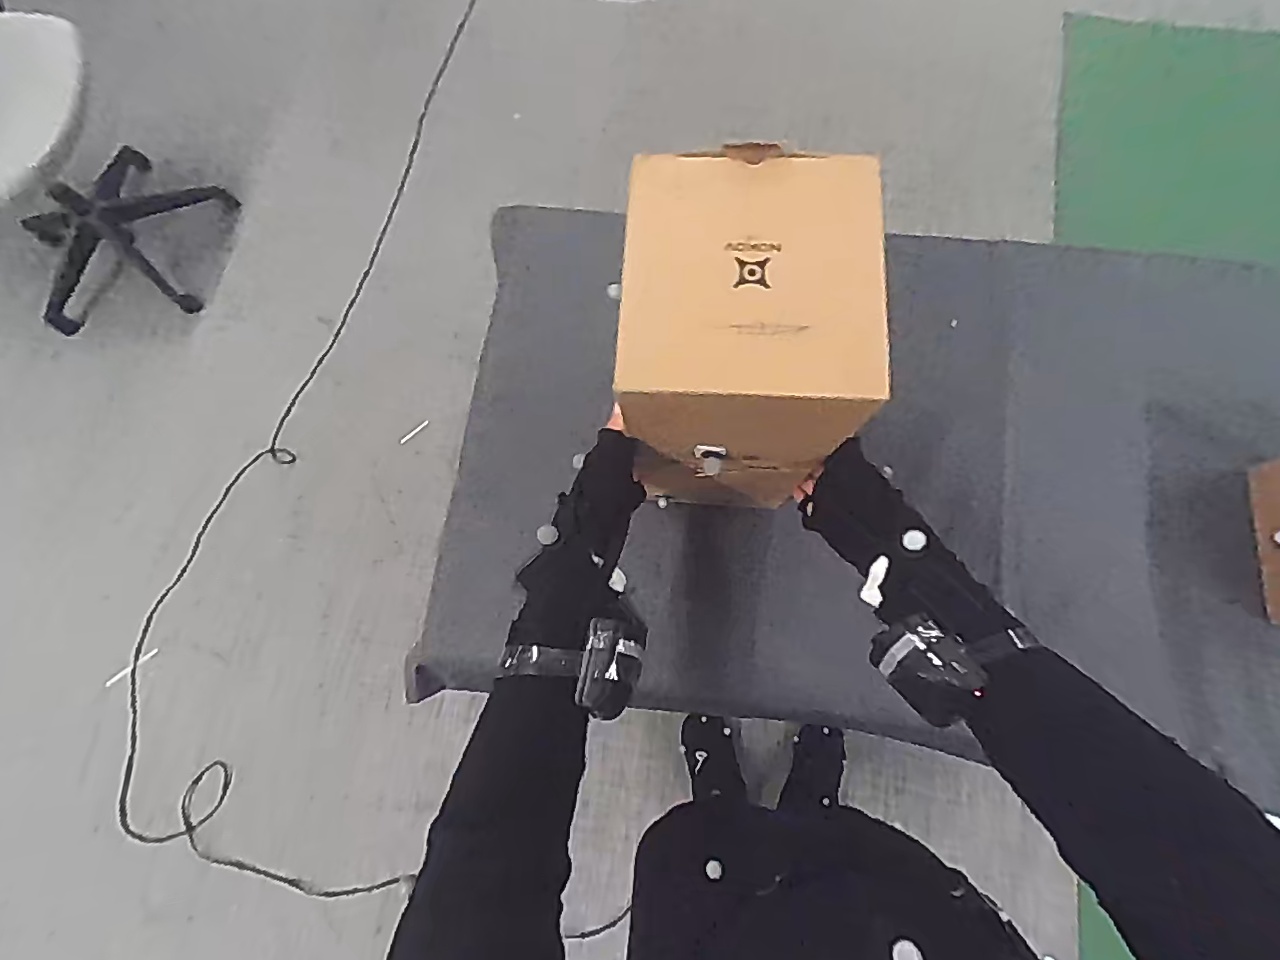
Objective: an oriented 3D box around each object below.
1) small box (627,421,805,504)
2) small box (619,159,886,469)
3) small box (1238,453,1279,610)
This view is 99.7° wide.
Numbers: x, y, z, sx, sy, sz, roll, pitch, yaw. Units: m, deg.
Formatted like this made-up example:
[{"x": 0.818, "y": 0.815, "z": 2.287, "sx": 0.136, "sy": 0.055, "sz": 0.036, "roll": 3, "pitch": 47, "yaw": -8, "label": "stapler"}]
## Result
[{"x": 0.080, "y": -0.076, "z": 0.584, "sx": 0.168, "sy": 0.176, "sz": 0.179, "roll": 3, "pitch": 75, "yaw": 3, "label": "small box"}, {"x": 0.075, "y": -0.116, "z": 0.427, "sx": 0.168, "sy": 0.176, "sz": 0.179, "roll": 2, "pitch": 78, "yaw": 4, "label": "small box"}, {"x": 0.750, "y": 0.054, "z": 0.519, "sx": 0.168, "sy": 0.176, "sz": 0.179, "roll": 6, "pitch": 76, "yaw": 5, "label": "small box"}]
